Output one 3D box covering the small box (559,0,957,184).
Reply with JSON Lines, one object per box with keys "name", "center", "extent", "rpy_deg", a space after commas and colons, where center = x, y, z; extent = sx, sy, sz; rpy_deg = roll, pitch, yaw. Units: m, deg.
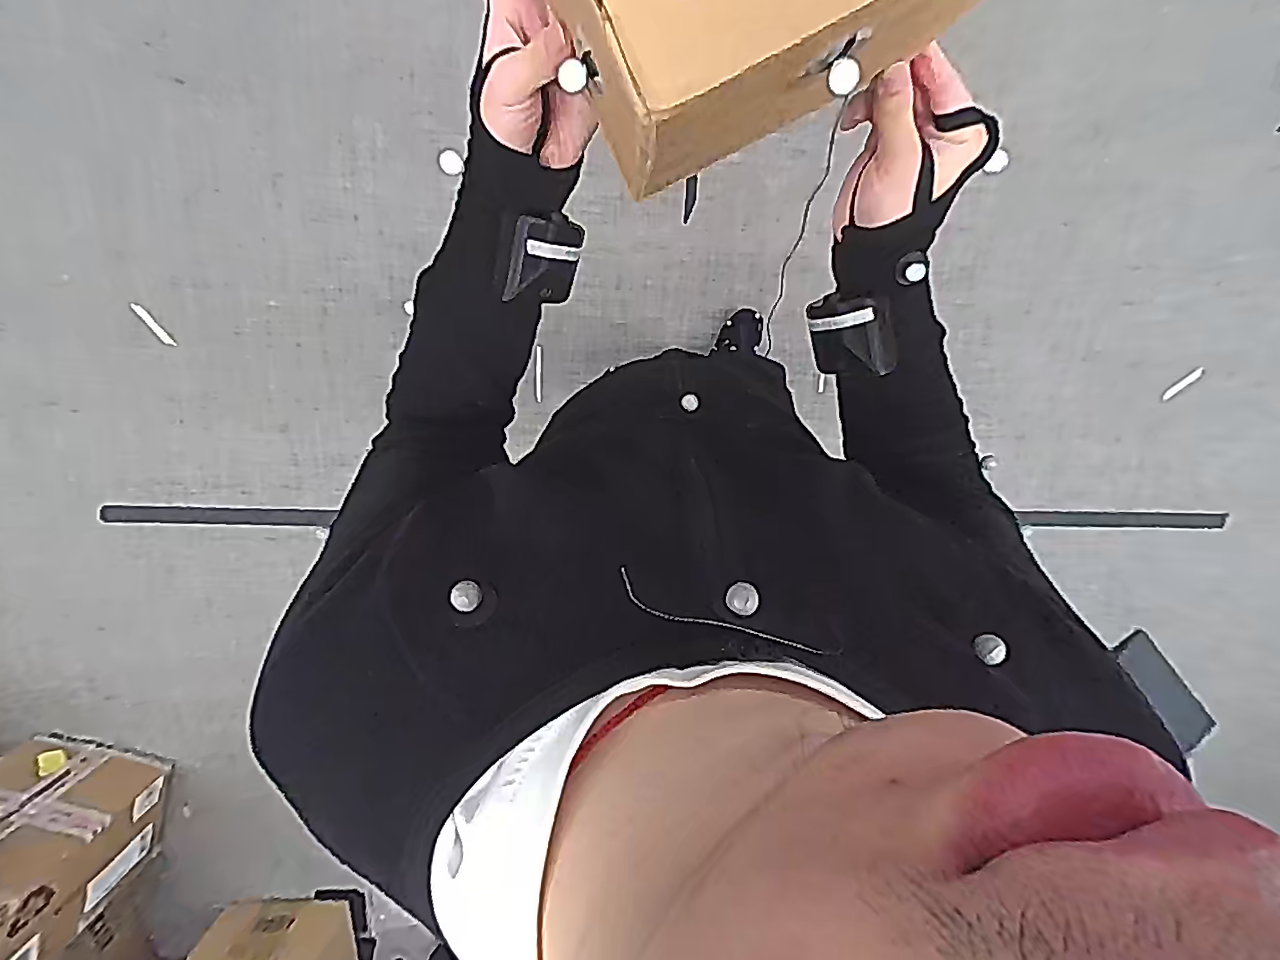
{"name": "small box", "center": [0.045, -0.255, 0.229], "extent": [0.179, 0.176, 0.168], "rpy_deg": [-25, 109, 6]}
